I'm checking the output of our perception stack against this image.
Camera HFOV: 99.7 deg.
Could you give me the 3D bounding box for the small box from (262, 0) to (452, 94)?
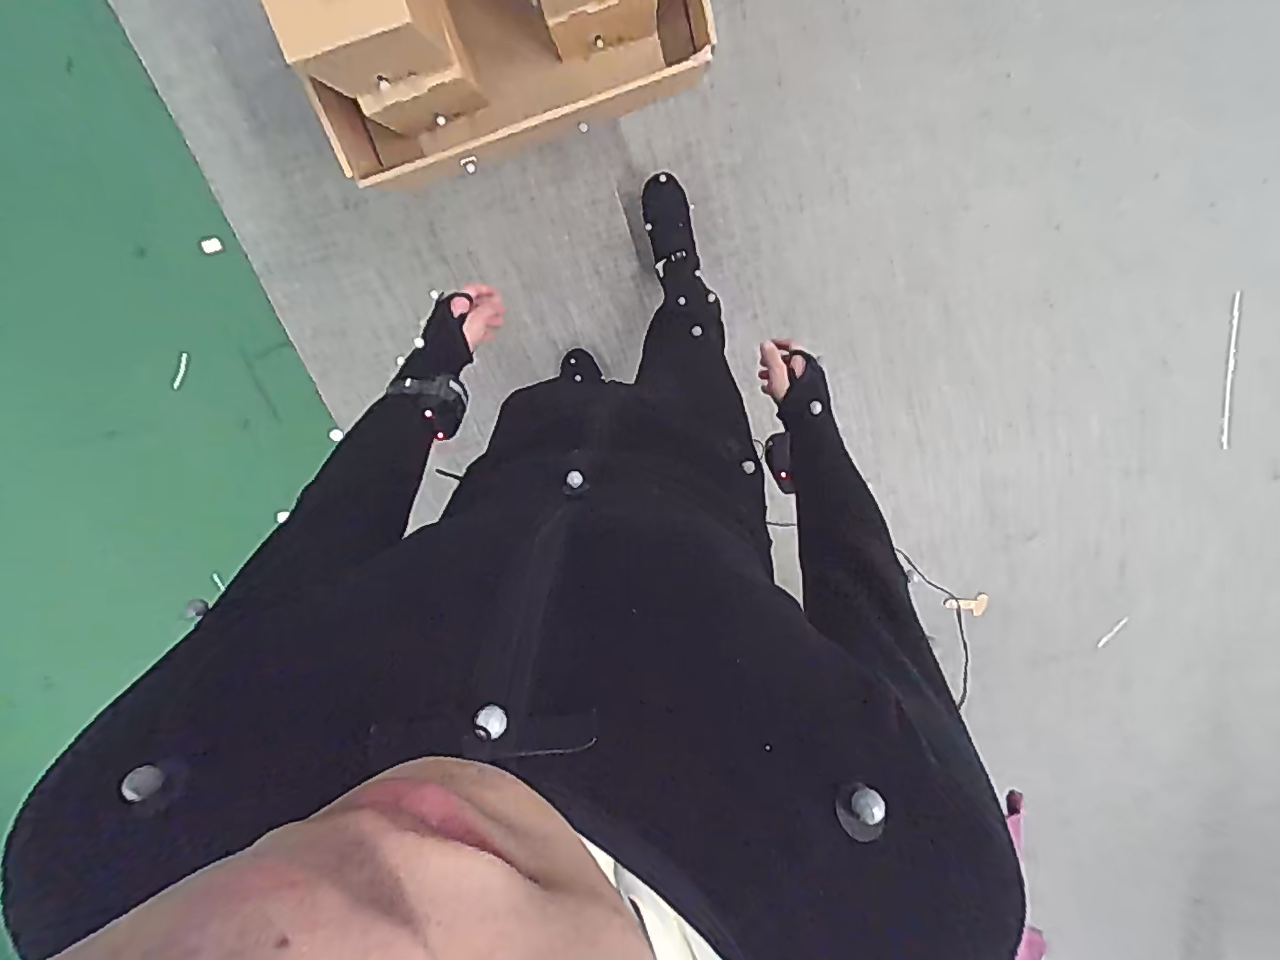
[{"bbox_3d":[-0.366,-0.631,0.683,0.168,0.176,0.179,-13,112,6],"label":"small box"}]
